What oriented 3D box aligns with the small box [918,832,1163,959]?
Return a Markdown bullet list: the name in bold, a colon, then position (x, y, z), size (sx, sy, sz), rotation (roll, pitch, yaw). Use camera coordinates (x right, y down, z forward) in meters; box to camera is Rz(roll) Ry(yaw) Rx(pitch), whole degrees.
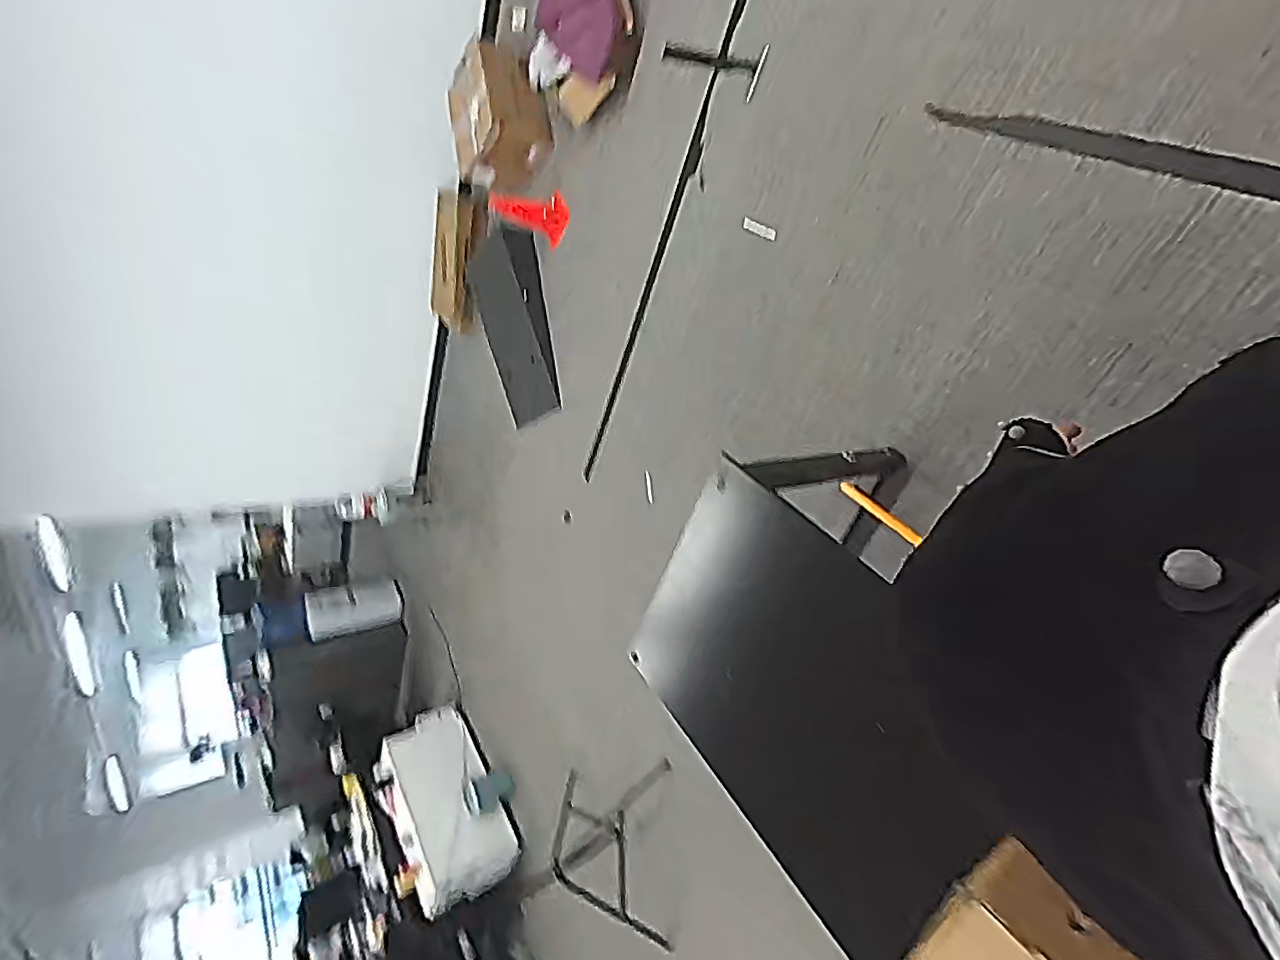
- **small box**: position (0.477, 0.572, 0.645), size (0.168, 0.176, 0.179), rotation (41, 124, 40)
